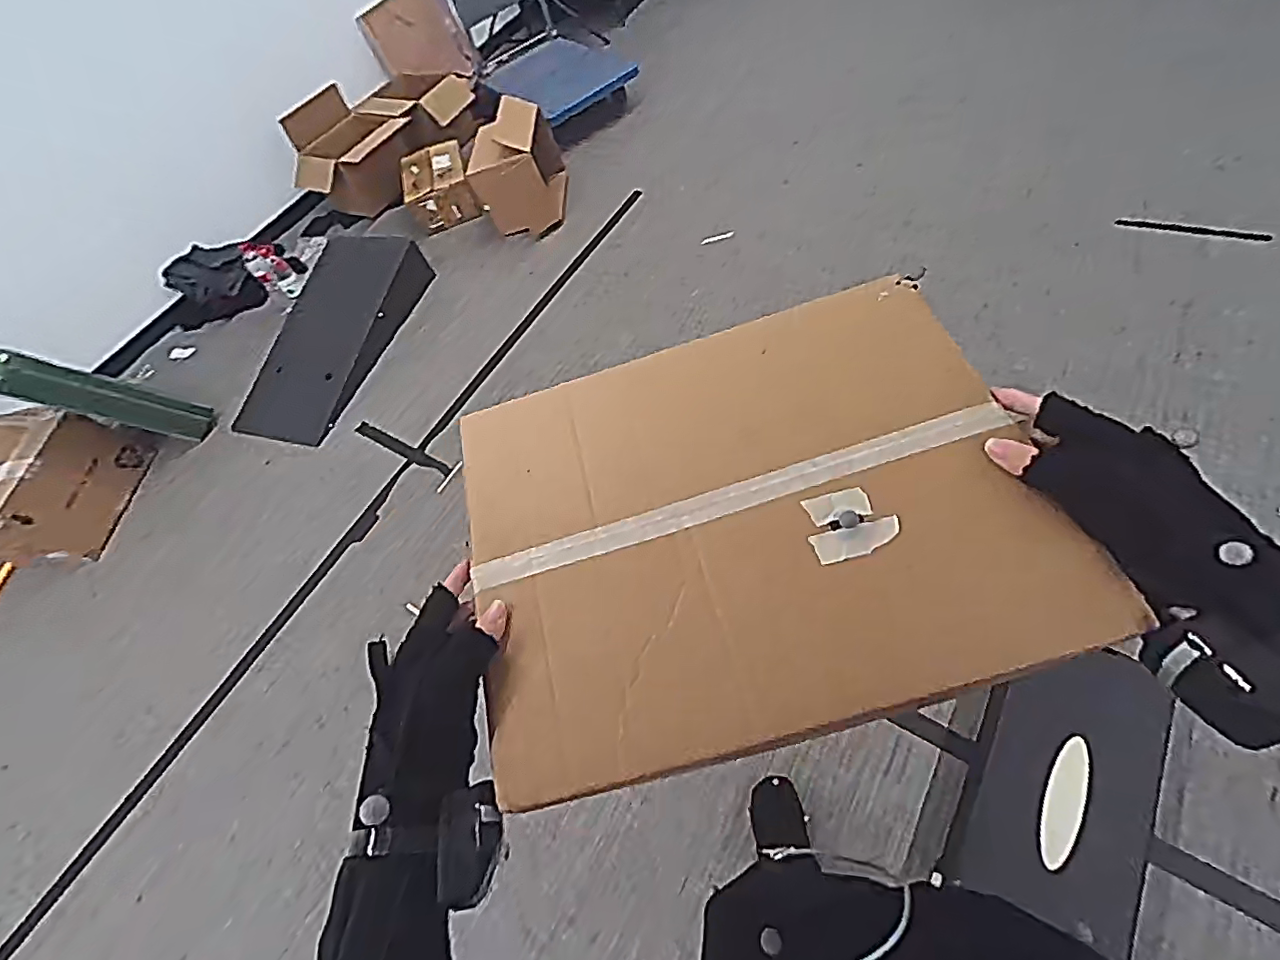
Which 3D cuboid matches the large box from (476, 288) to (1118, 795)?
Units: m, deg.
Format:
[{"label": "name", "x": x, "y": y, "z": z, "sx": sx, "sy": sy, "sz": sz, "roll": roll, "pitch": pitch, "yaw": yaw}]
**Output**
[{"label": "large box", "x": 0.099, "y": 0.085, "z": 0.542, "sx": 0.408, "sy": 0.320, "sz": 0.320, "roll": -17, "pitch": 61, "yaw": 3}]
